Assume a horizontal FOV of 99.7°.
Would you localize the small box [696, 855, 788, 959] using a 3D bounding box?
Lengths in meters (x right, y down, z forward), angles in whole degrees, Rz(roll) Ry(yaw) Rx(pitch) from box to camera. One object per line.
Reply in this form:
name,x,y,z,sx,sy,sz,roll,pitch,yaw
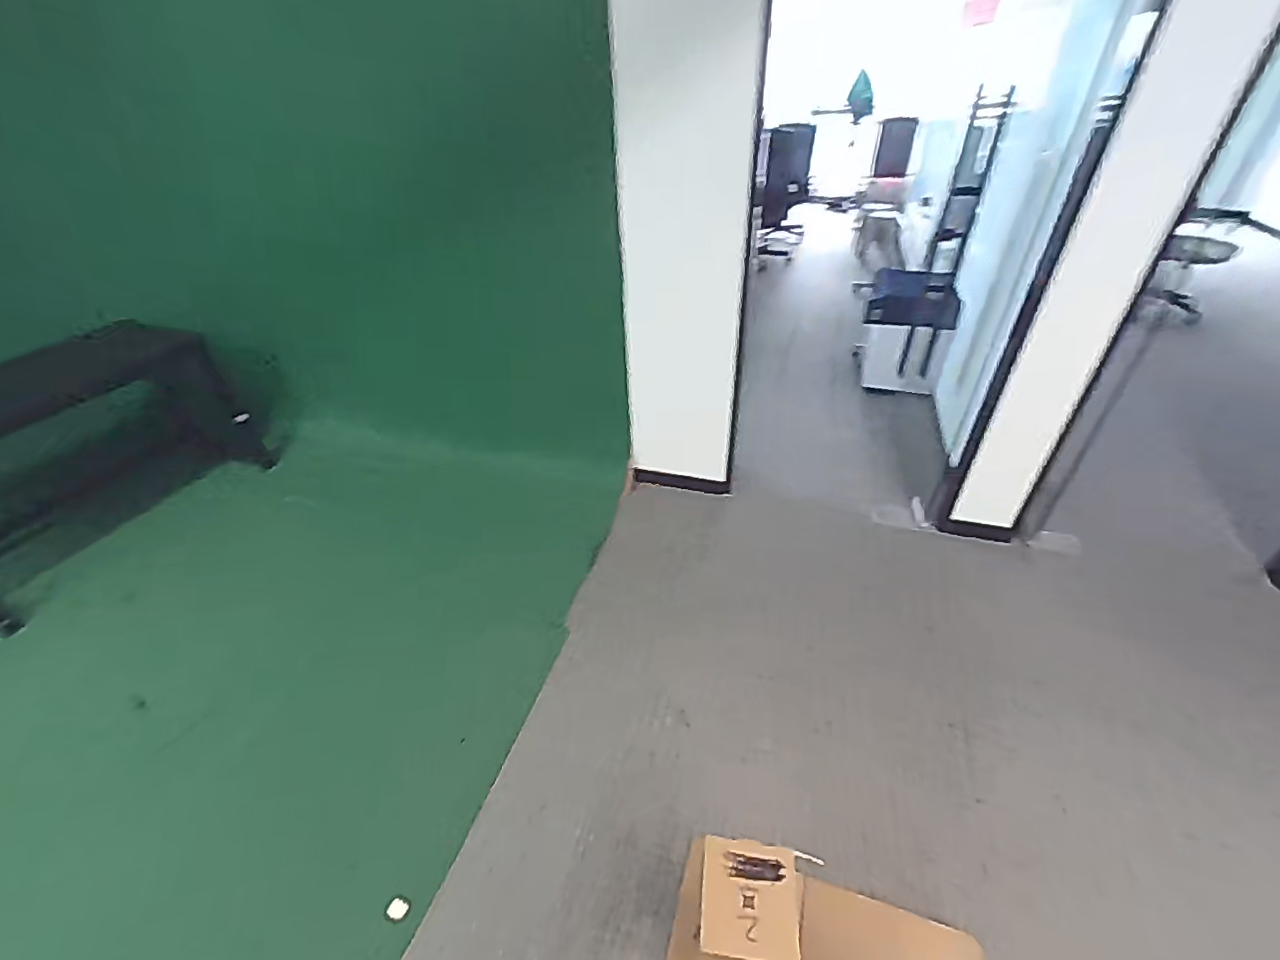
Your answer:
small box,0.207,0.909,1.099,0.168,0.176,0.179,7,38,10
